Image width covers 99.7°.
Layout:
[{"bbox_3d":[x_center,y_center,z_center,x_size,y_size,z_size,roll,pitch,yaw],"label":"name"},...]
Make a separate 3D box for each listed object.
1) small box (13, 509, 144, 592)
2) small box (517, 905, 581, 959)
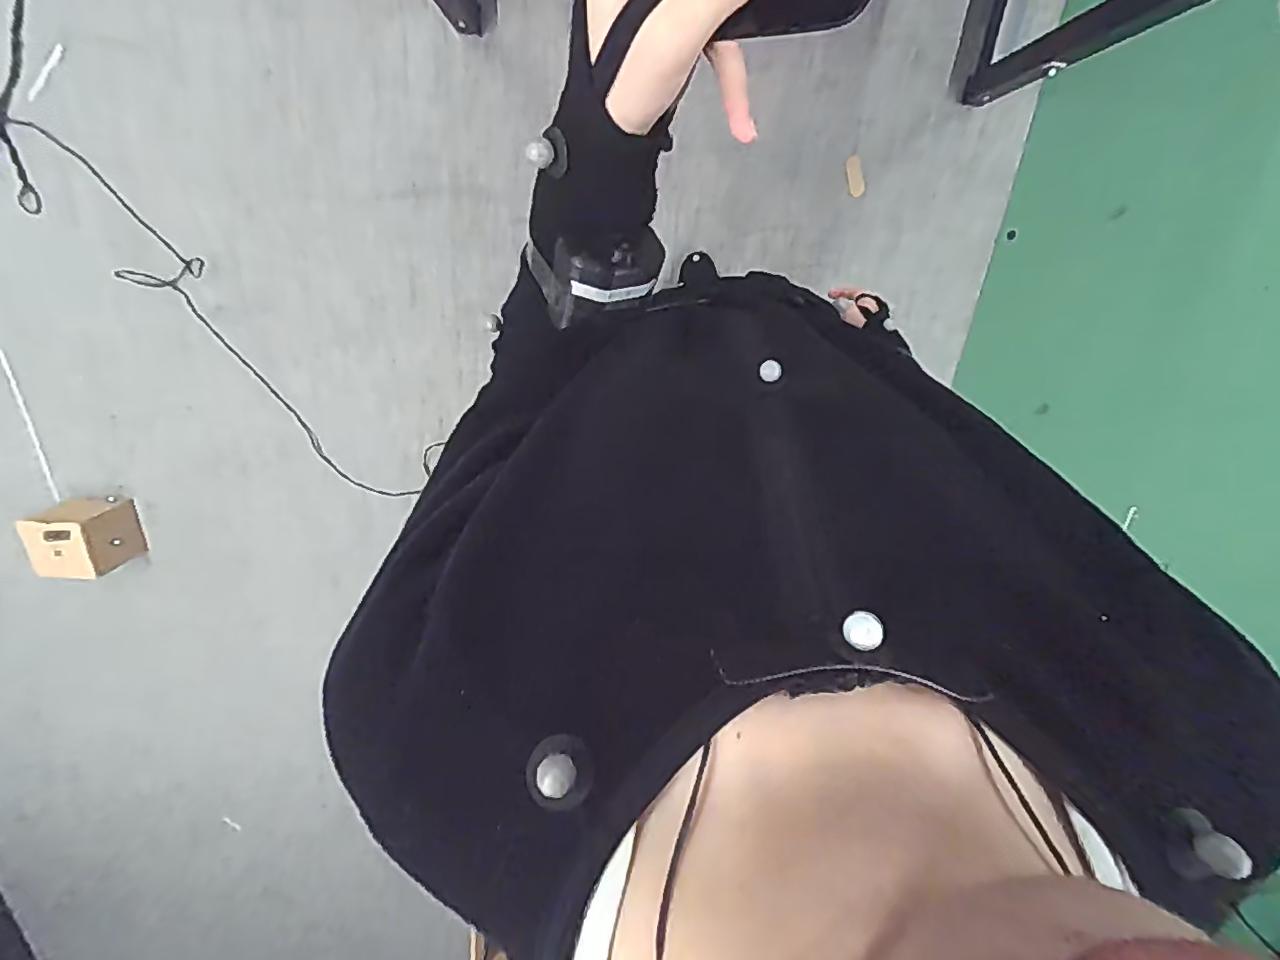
[{"bbox_3d":[-1.553,0.191,1.509,0.168,0.176,0.179,3,111,-2],"label":"small box"},{"bbox_3d":[-0.255,1.329,1.501,0.168,0.176,0.179,6,111,-5],"label":"small box"}]
